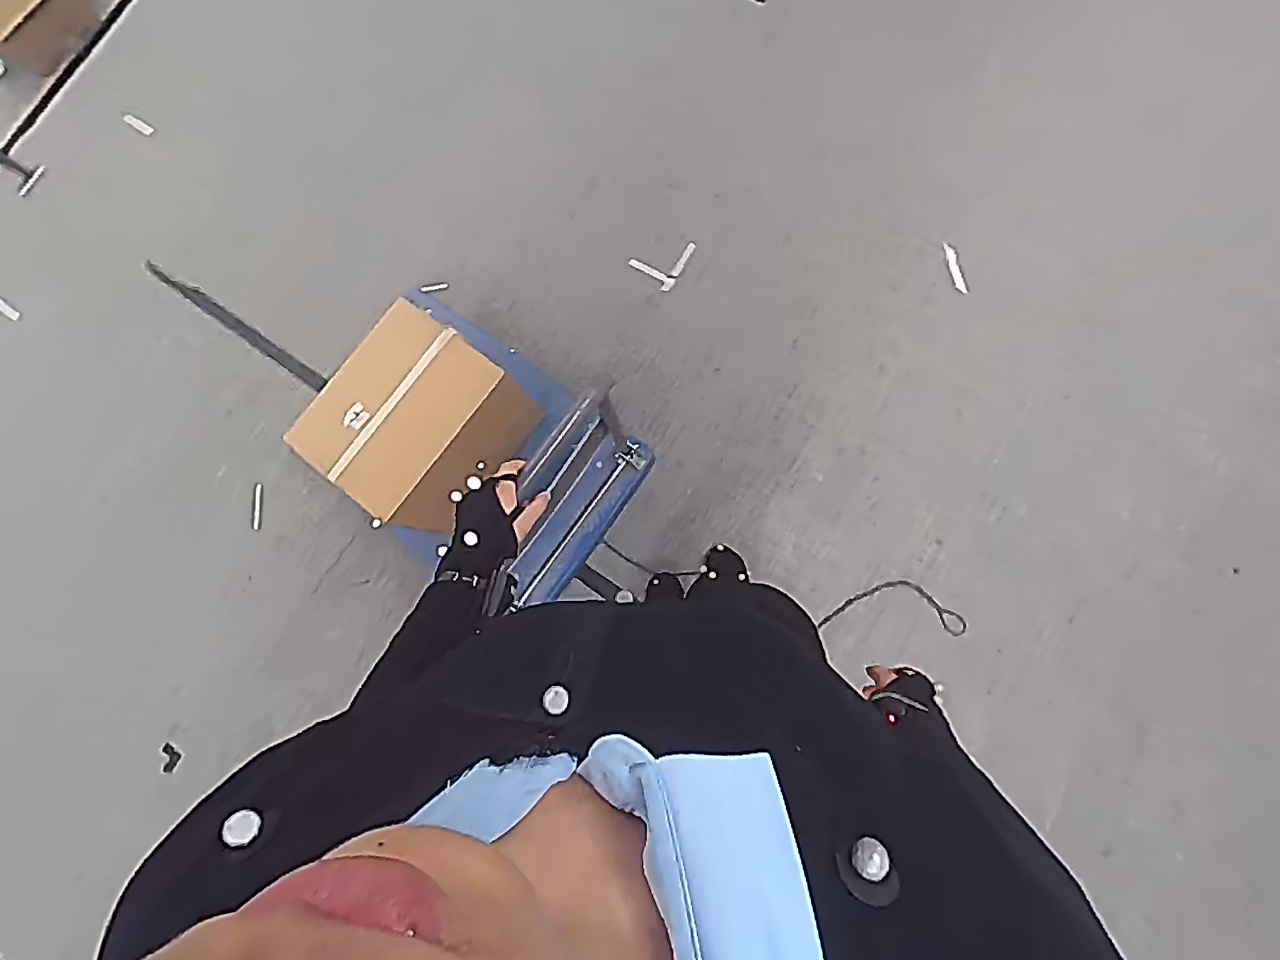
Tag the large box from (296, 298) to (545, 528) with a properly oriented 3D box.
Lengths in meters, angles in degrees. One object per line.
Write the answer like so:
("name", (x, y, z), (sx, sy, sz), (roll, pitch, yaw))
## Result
("large box", (-0.497, -0.140, 1.304), (0.320, 0.320, 0.408), (37, 87, 12))
